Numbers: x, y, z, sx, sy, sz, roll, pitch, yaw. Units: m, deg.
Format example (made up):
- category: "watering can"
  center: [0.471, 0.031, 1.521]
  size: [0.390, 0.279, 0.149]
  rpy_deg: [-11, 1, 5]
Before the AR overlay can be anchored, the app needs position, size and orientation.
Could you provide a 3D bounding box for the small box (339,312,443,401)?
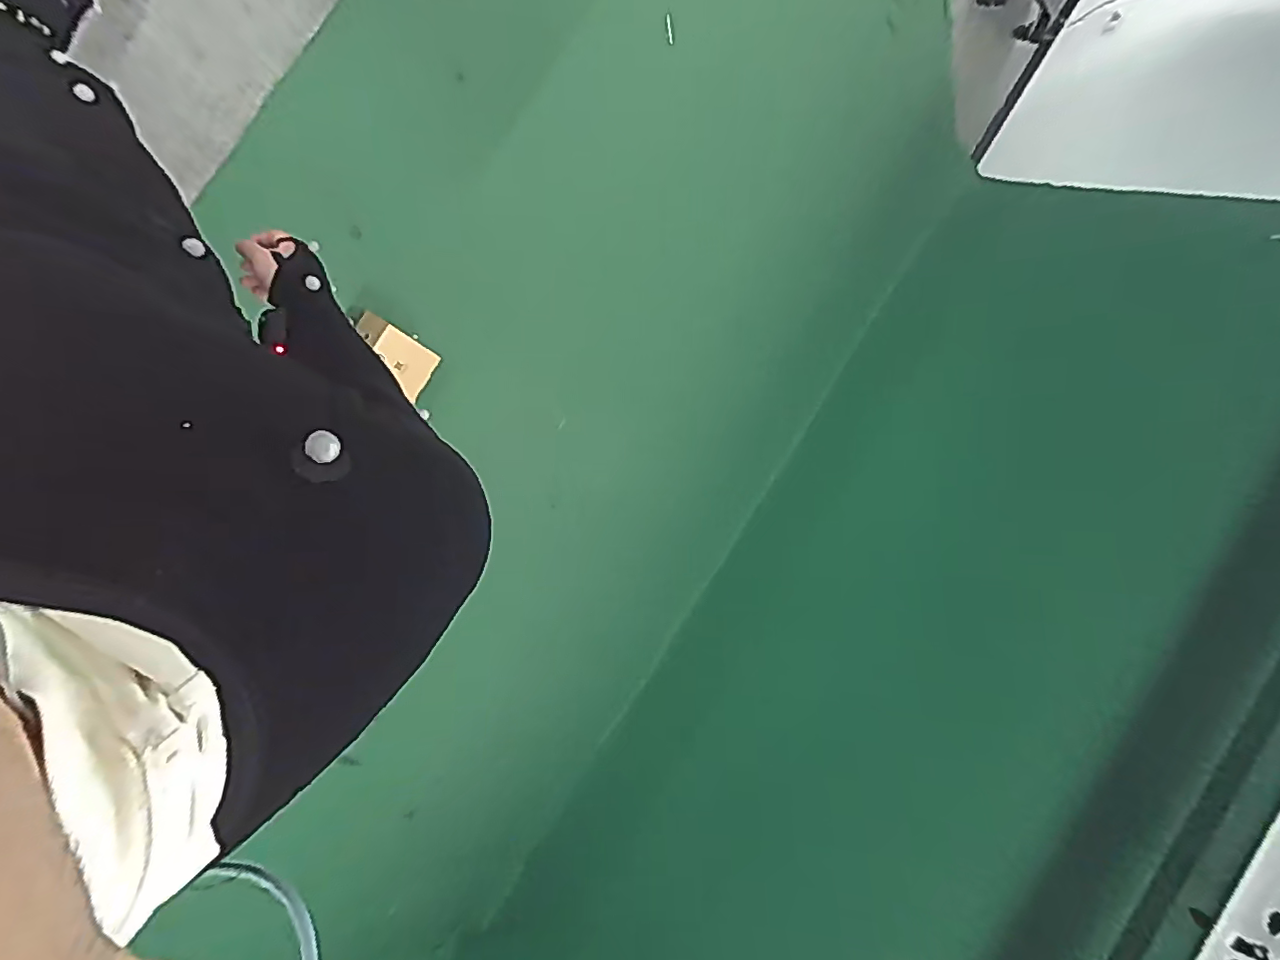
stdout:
- category: "small box"
  center: [-0.697, -0.349, 1.507]
  size: [0.168, 0.176, 0.179]
  rpy_deg: [-58, 143, -1]
